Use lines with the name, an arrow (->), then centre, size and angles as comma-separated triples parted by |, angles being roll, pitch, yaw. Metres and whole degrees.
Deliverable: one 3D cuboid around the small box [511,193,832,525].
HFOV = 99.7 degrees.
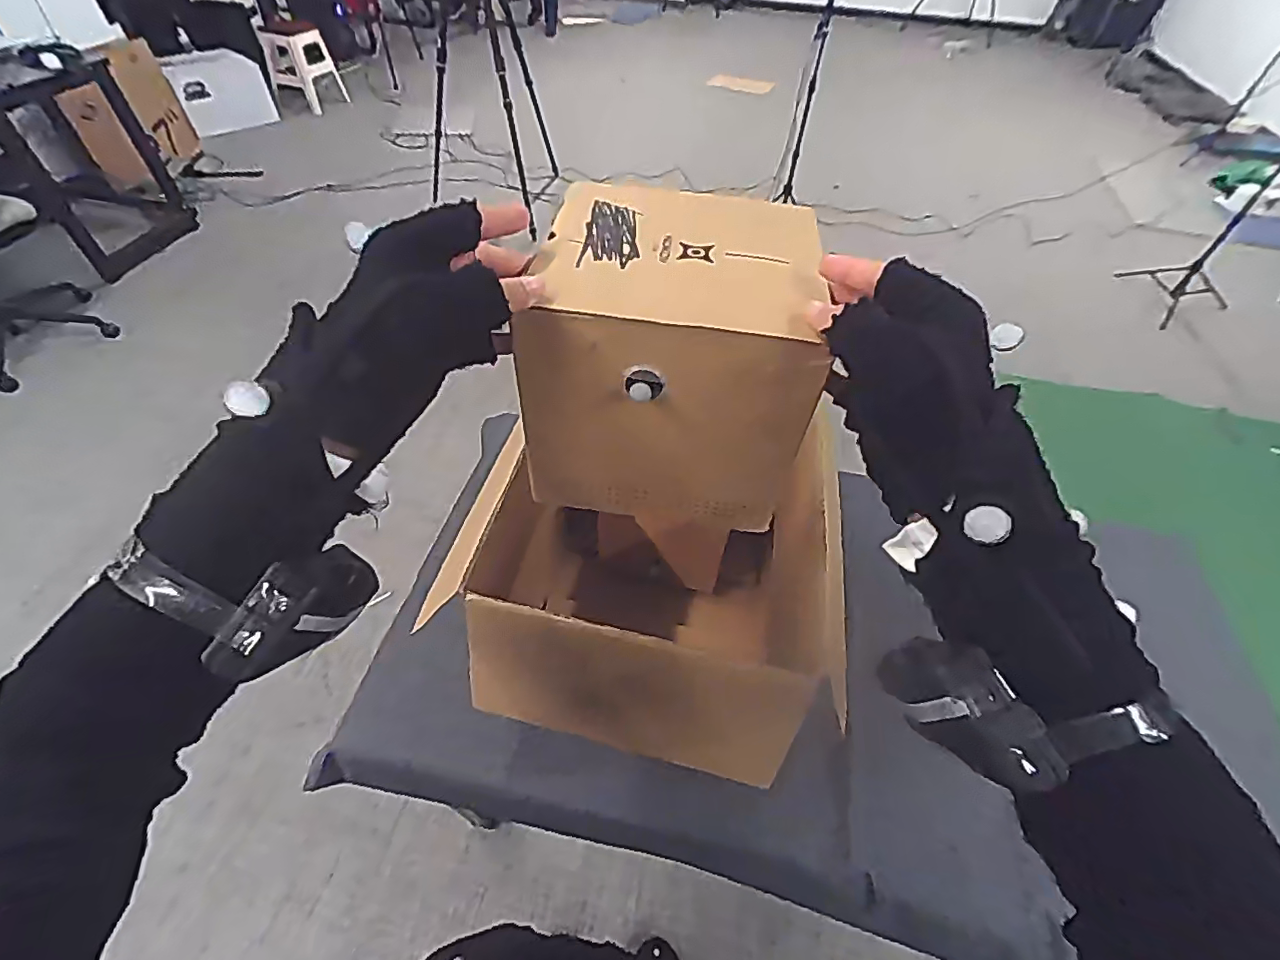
small box -> 0.022, -0.084, 0.397 | 0.179, 0.176, 0.168 | 8, 50, 2
